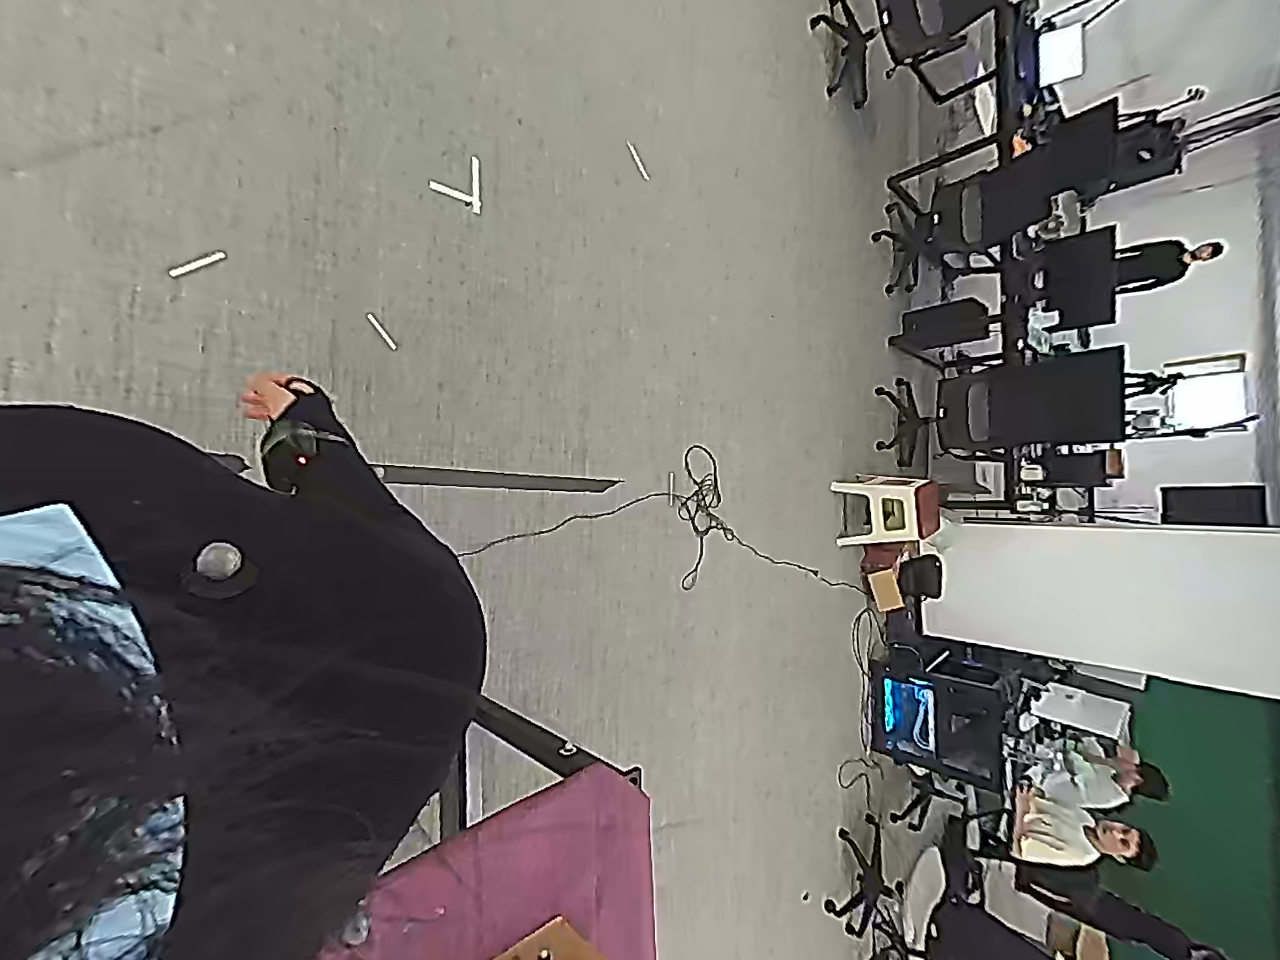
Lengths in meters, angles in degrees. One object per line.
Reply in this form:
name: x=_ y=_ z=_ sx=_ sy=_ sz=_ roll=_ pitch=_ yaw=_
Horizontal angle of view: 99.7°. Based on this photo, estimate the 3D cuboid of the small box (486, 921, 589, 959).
small box: x=-0.153 y=0.854 z=0.839 sx=0.168 sy=0.176 sz=0.179 roll=-1 pitch=88 yaw=-43
